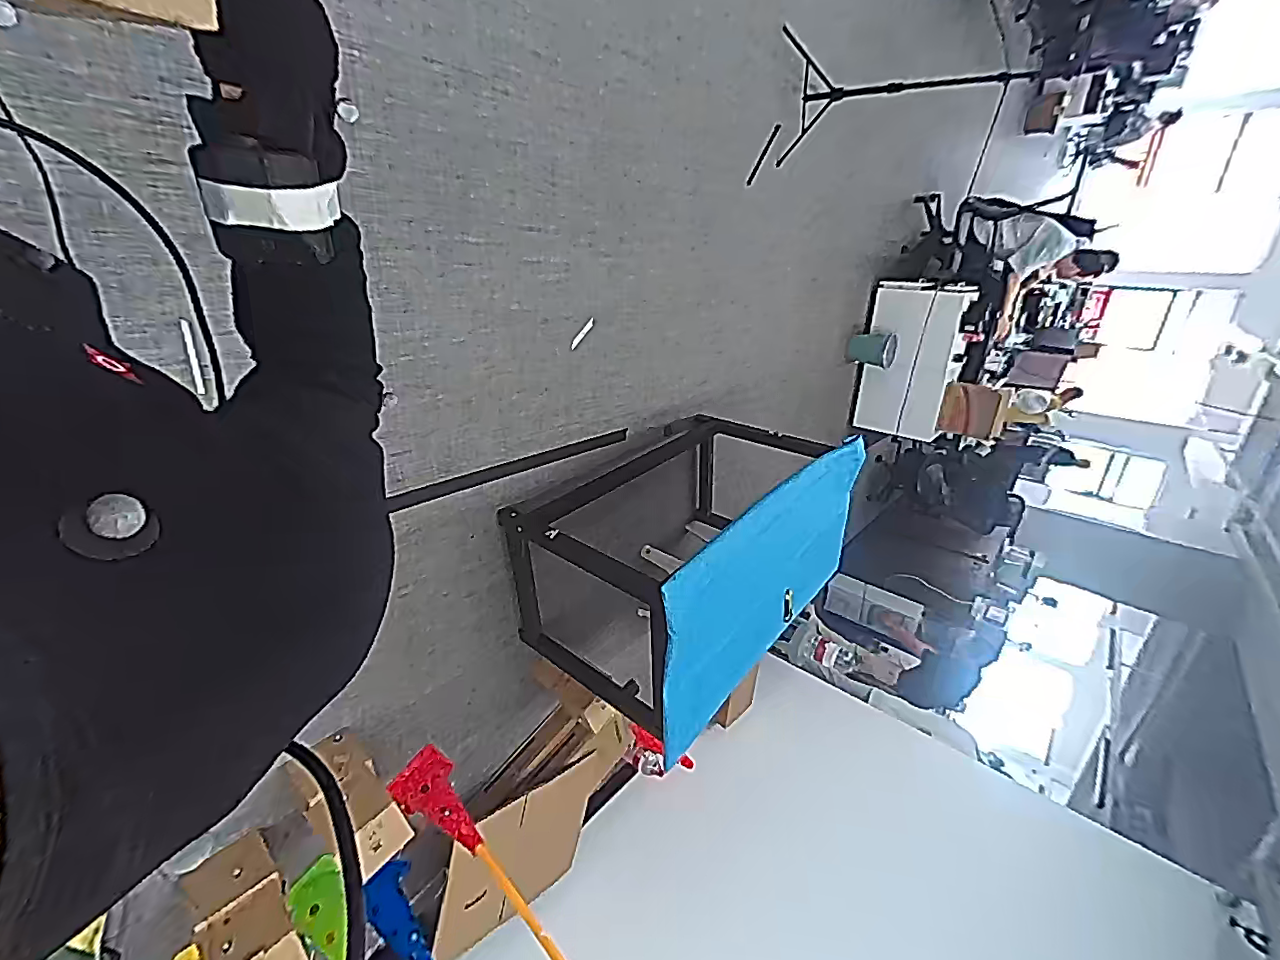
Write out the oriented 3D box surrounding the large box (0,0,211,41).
[{"bbox_3d":[-0.427,-0.360,0.132,0.408,0.320,0.320,-24,135,-46],"label":"large box"}]
